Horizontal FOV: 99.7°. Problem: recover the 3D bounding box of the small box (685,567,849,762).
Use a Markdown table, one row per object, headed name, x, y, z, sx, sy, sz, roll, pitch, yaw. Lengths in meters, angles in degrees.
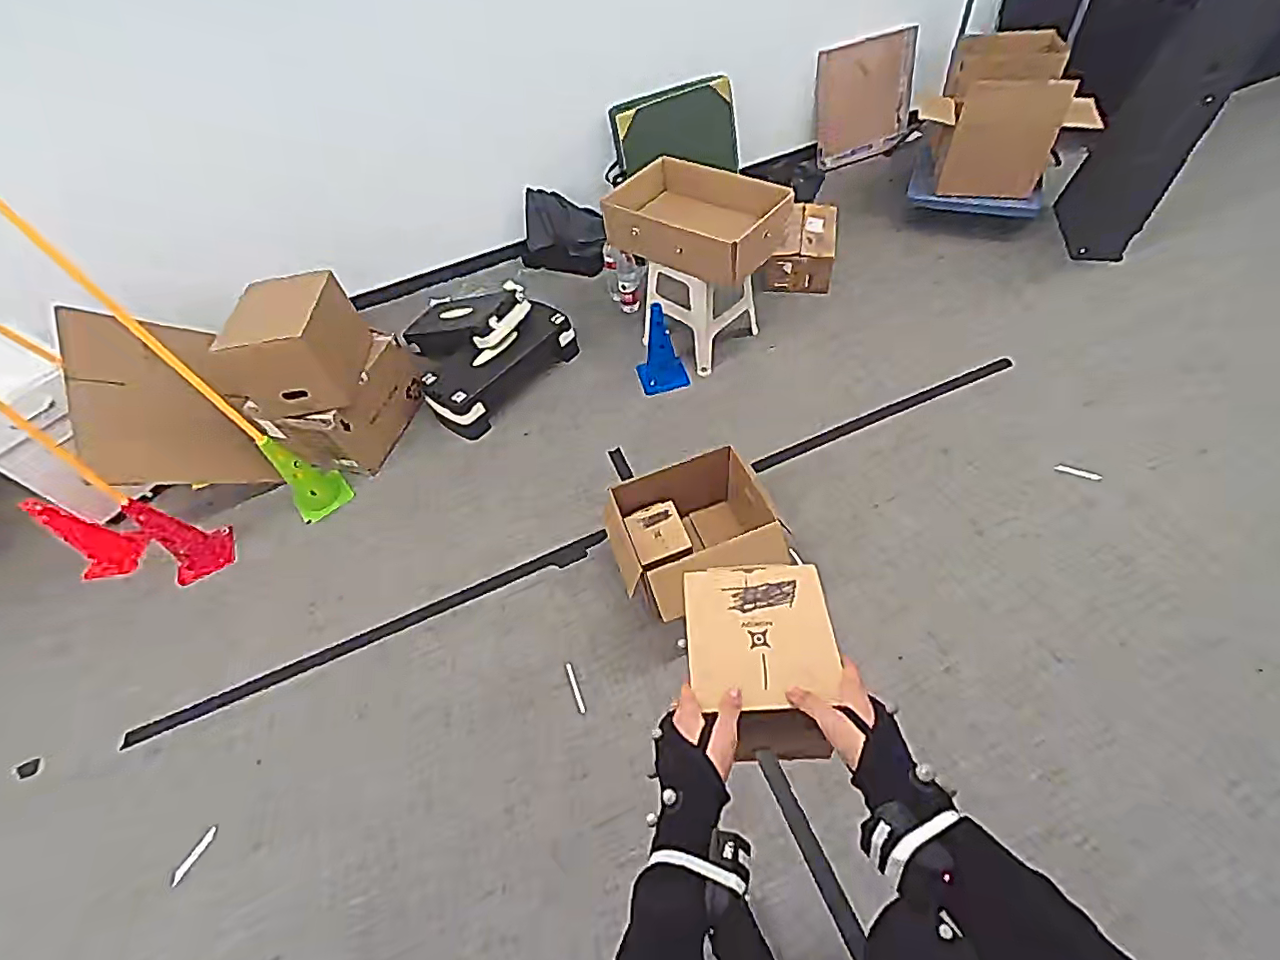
| name | x | y | z | sx | sy | sz | roll | pitch | yaw |
| --- | --- | --- | --- | --- | --- | --- | --- | --- | --- |
| small box | 0.144 | 0.232 | 0.677 | 0.168 | 0.176 | 0.179 | -5 | 46 | 5 |
